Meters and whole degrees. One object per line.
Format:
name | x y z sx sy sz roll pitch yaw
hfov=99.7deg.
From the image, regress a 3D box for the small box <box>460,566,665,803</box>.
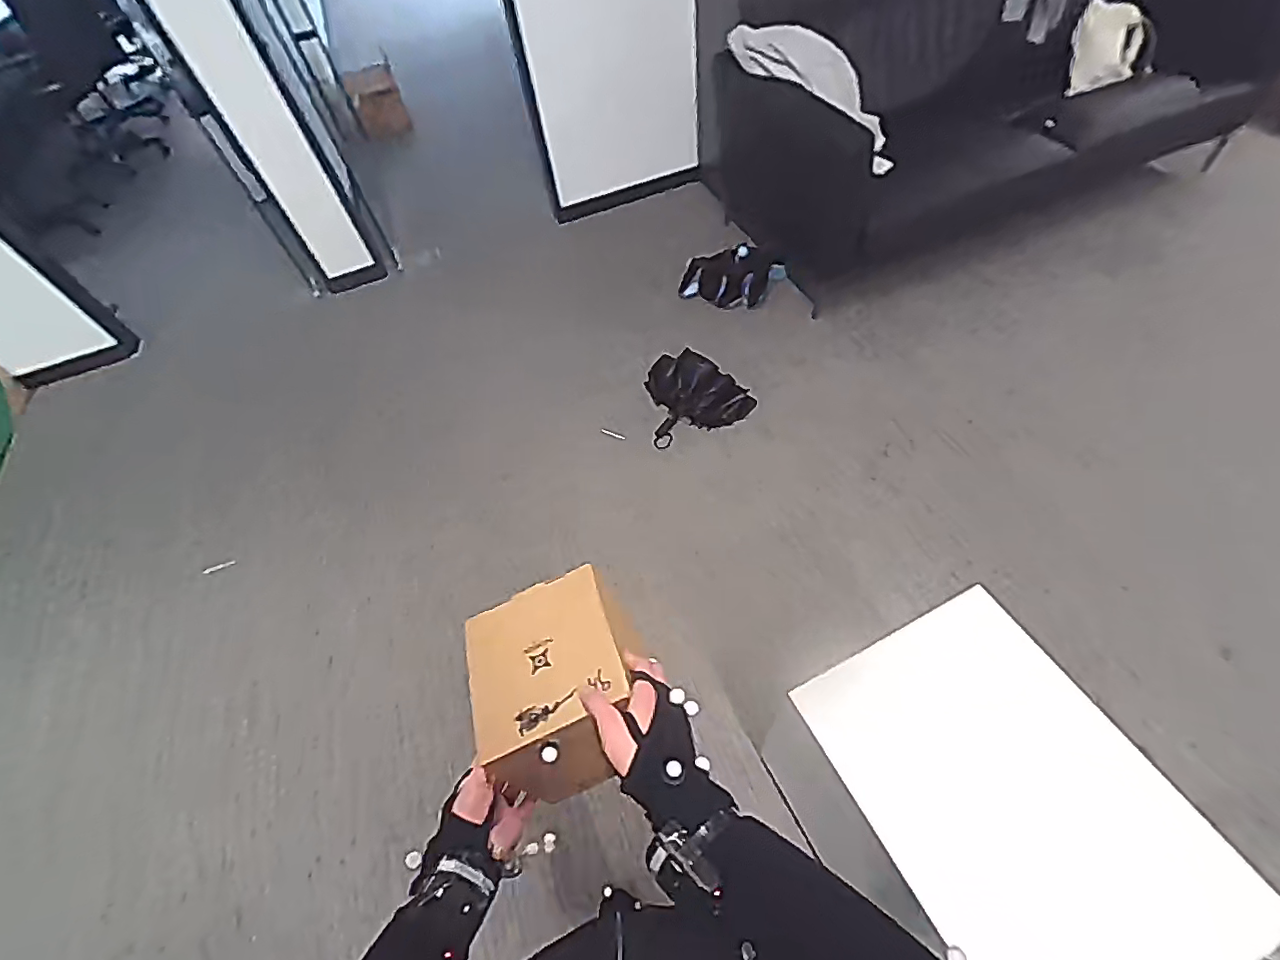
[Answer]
small box | -0.090 0.241 0.637 0.168 0.176 0.179 -27 44 -2
